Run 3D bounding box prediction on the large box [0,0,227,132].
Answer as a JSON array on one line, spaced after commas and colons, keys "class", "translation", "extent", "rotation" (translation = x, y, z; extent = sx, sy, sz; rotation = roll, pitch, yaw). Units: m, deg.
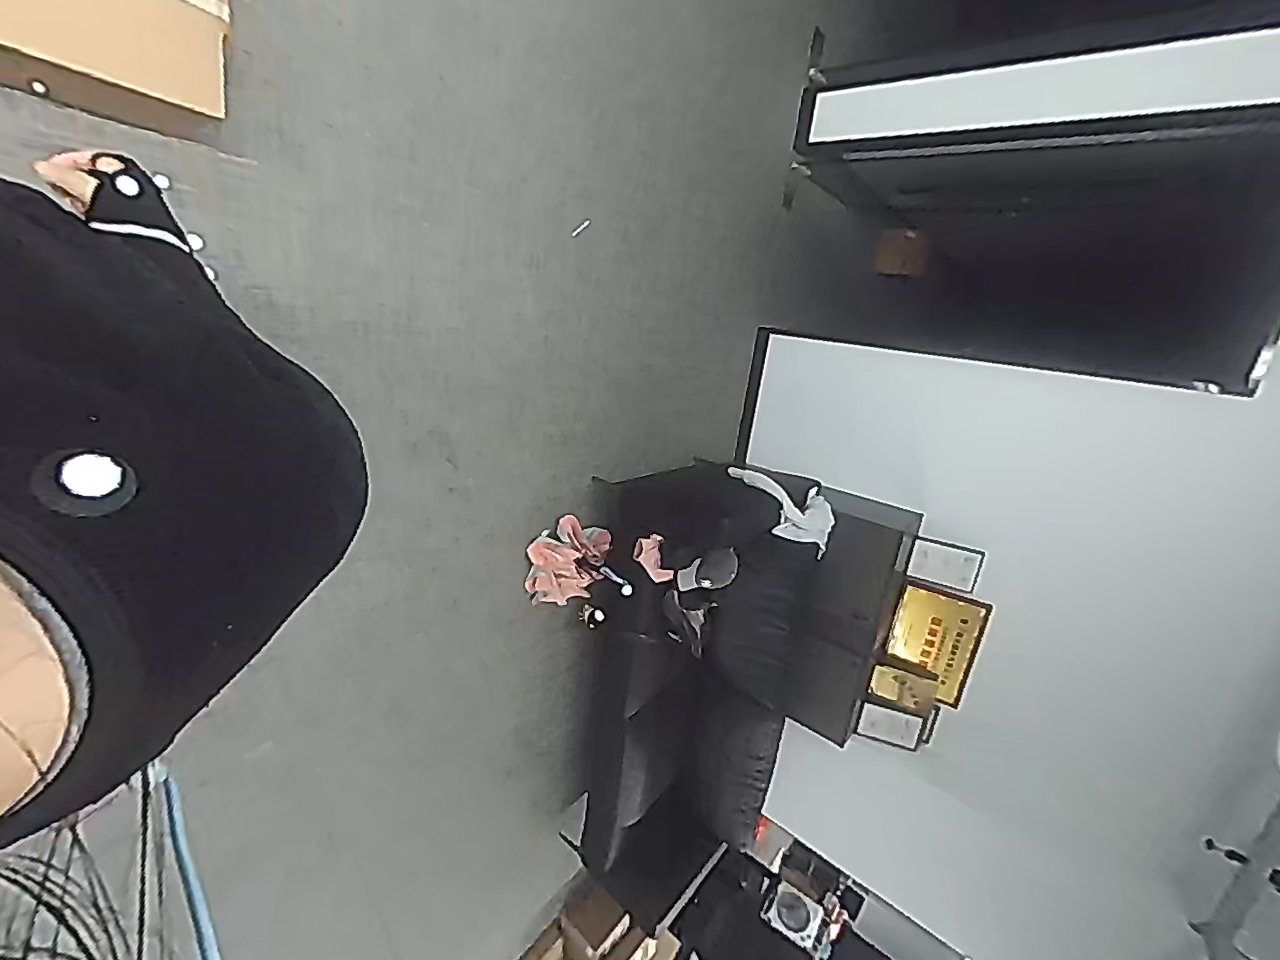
[{"class": "large box", "translation": [-0.918, -0.775, 0.818], "extent": [0.408, 0.320, 0.320], "rotation": [-9, 113, -50]}]
